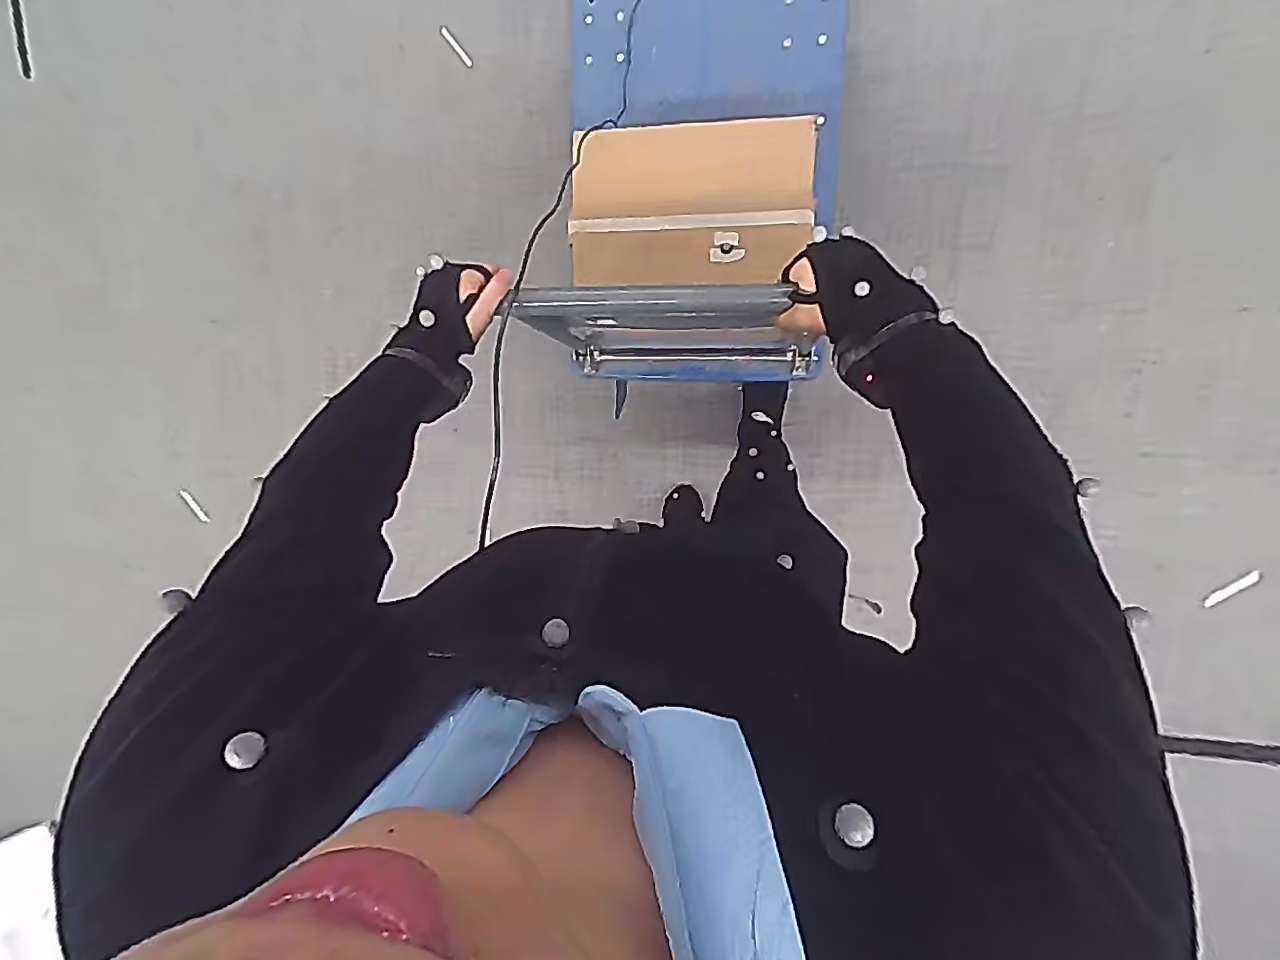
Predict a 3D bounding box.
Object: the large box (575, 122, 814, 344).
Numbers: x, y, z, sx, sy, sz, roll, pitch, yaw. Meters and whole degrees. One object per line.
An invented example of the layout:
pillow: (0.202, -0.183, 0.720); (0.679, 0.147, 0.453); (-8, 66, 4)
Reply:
large box: (0.104, -0.446, 1.061); (0.408, 0.320, 0.320); (2, 98, 8)
